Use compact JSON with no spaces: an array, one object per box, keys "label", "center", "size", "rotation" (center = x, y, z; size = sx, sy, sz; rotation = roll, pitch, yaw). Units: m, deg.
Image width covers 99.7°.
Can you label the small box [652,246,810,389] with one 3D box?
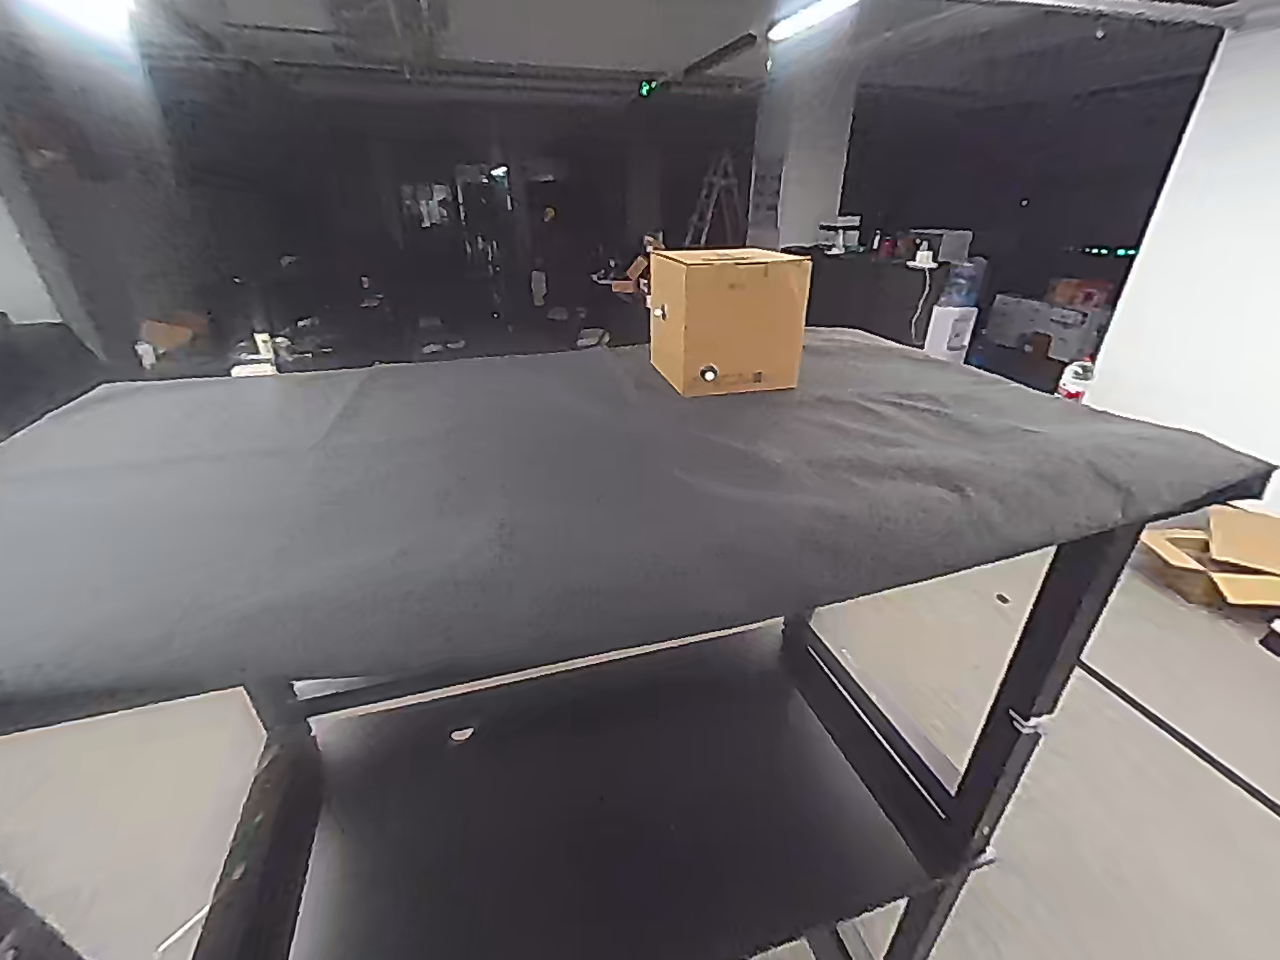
[{"label":"small box","center":[0.118,-0.230,0.763],"size":[0.168,0.176,0.179],"rotation":[-7,27,-11]}]
